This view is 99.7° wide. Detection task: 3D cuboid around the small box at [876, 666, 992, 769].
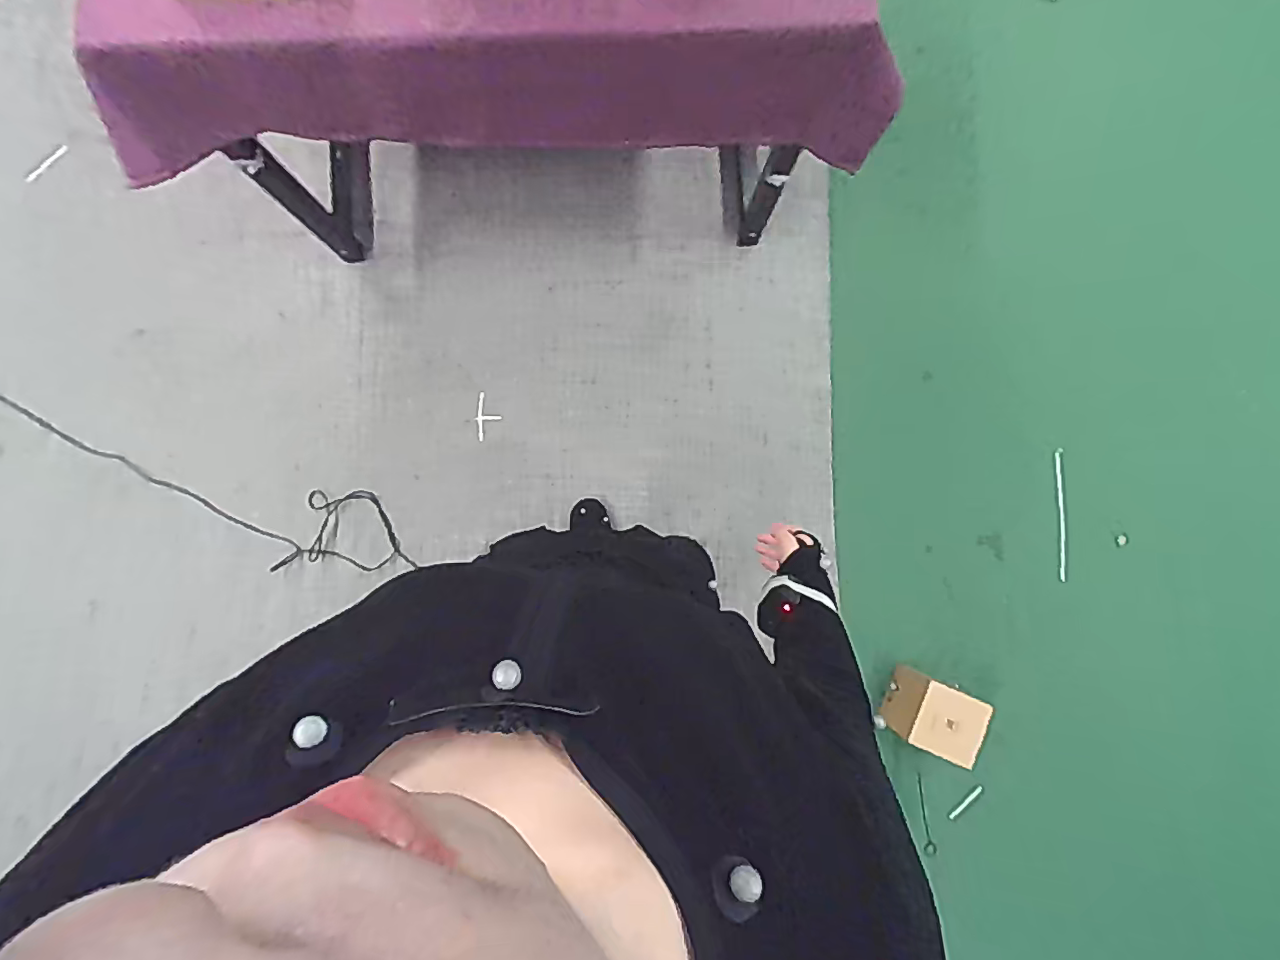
[{"bbox_3d":[0.762,0.610,1.417,0.179,0.176,0.168,25,86,0],"label":"small box"}]
